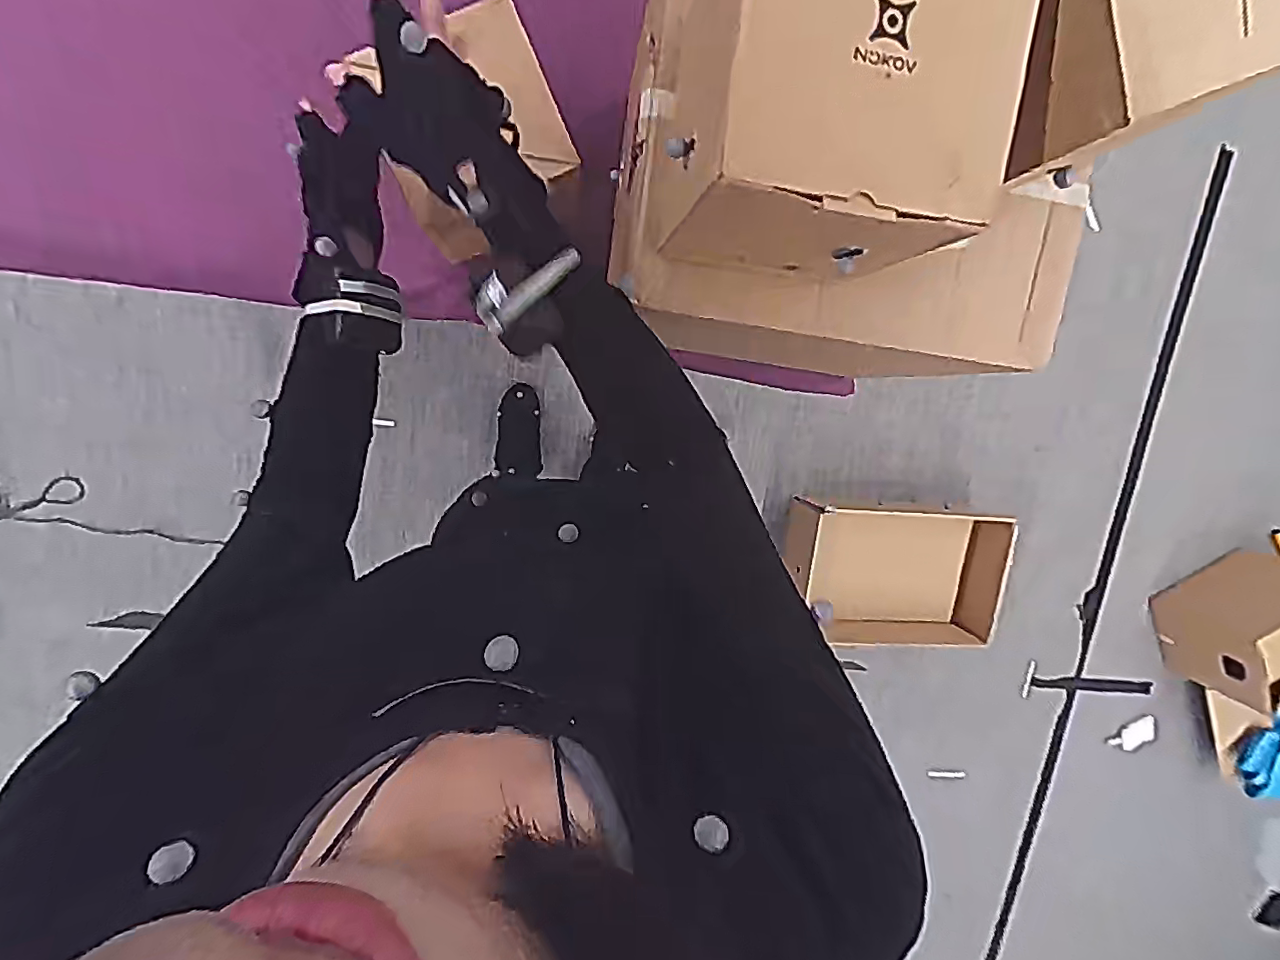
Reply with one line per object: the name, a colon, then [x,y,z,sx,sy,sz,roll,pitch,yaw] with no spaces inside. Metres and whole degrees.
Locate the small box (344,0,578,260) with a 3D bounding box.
small box: [-0.179,-0.371,0.596,0.179,0.176,0.168,-24,102,-2]

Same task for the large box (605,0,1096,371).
large box: [0.183,-0.301,0.600,0.408,0.320,0.320,6,100,-10]

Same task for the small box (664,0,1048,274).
small box: [0.116,-0.246,0.350,0.168,0.176,0.179,5,98,-10]

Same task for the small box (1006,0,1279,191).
small box: [0.307,-0.319,0.363,0.168,0.176,0.179,-21,101,-4]
